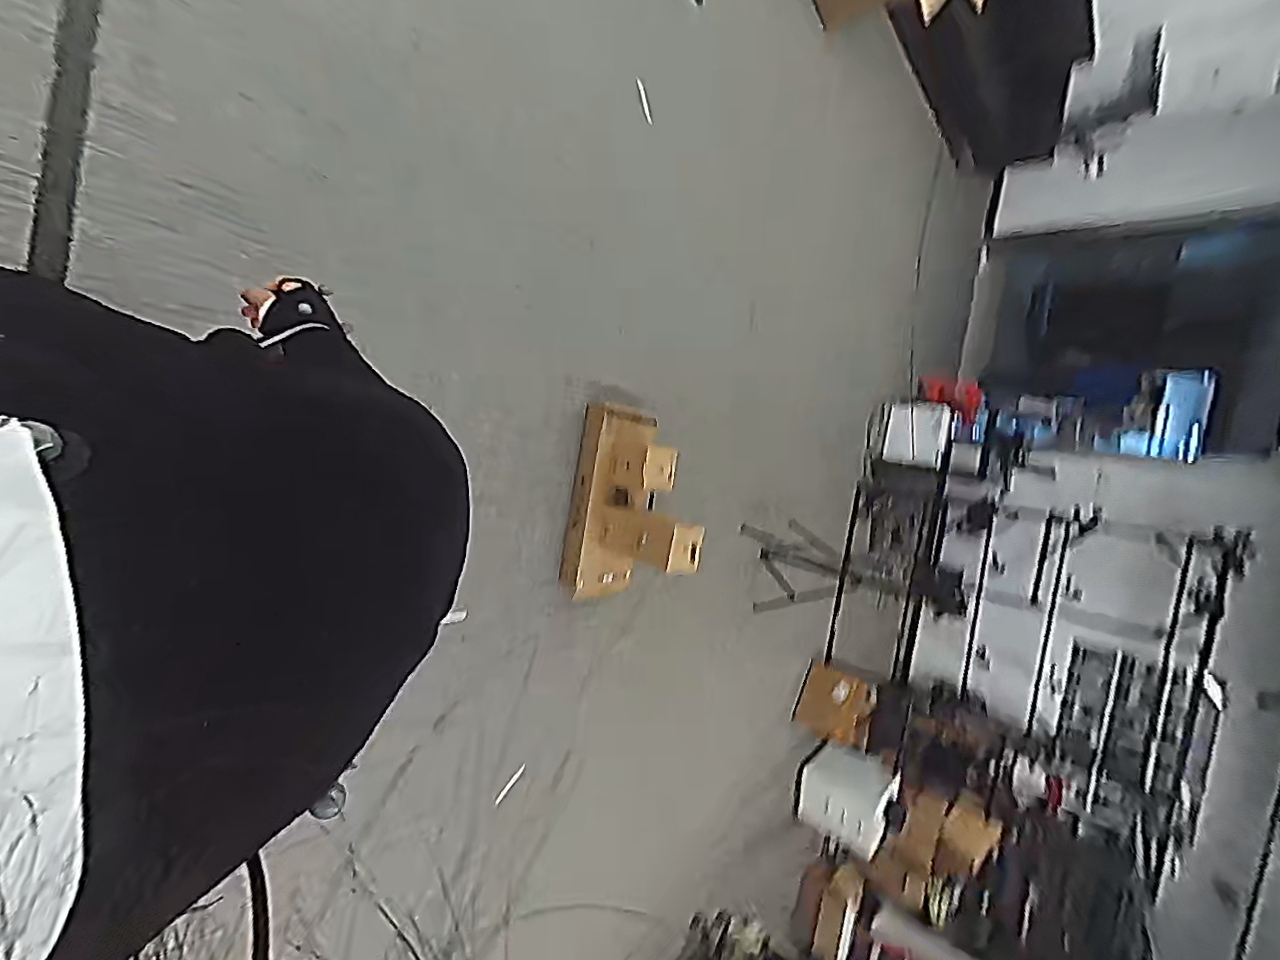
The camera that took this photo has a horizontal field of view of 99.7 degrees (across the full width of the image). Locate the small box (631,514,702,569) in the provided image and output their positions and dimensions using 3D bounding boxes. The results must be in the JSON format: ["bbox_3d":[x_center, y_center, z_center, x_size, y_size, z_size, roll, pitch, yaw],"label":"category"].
[{"bbox_3d":[0.095,0.219,1.944,0.179,0.176,0.168,10,91,-49],"label":"small box"}]

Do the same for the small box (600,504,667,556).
[{"bbox_3d":[-0.027,0.185,2.049,0.179,0.176,0.168,4,95,-49],"label":"small box"}]

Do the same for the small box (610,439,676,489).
[{"bbox_3d":[0.007,-0.060,2.028,0.179,0.176,0.168,2,98,-48],"label":"small box"}]
